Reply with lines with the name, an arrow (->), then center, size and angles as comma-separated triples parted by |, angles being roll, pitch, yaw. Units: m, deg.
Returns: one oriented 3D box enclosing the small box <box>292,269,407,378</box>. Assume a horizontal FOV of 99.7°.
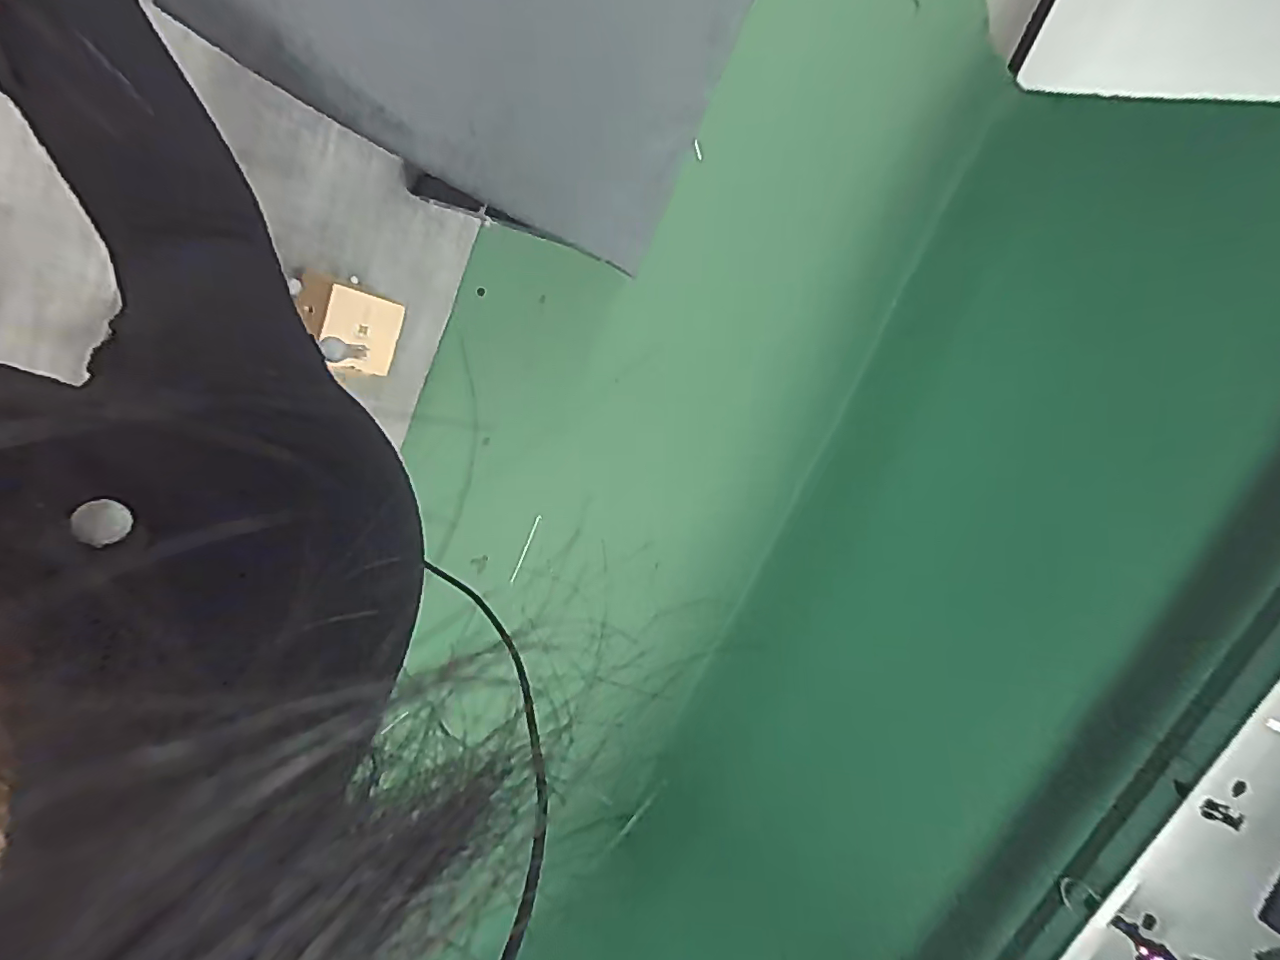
small box -> -0.678, -0.361, 1.251 | 0.168, 0.176, 0.179 | 7, 110, -53
